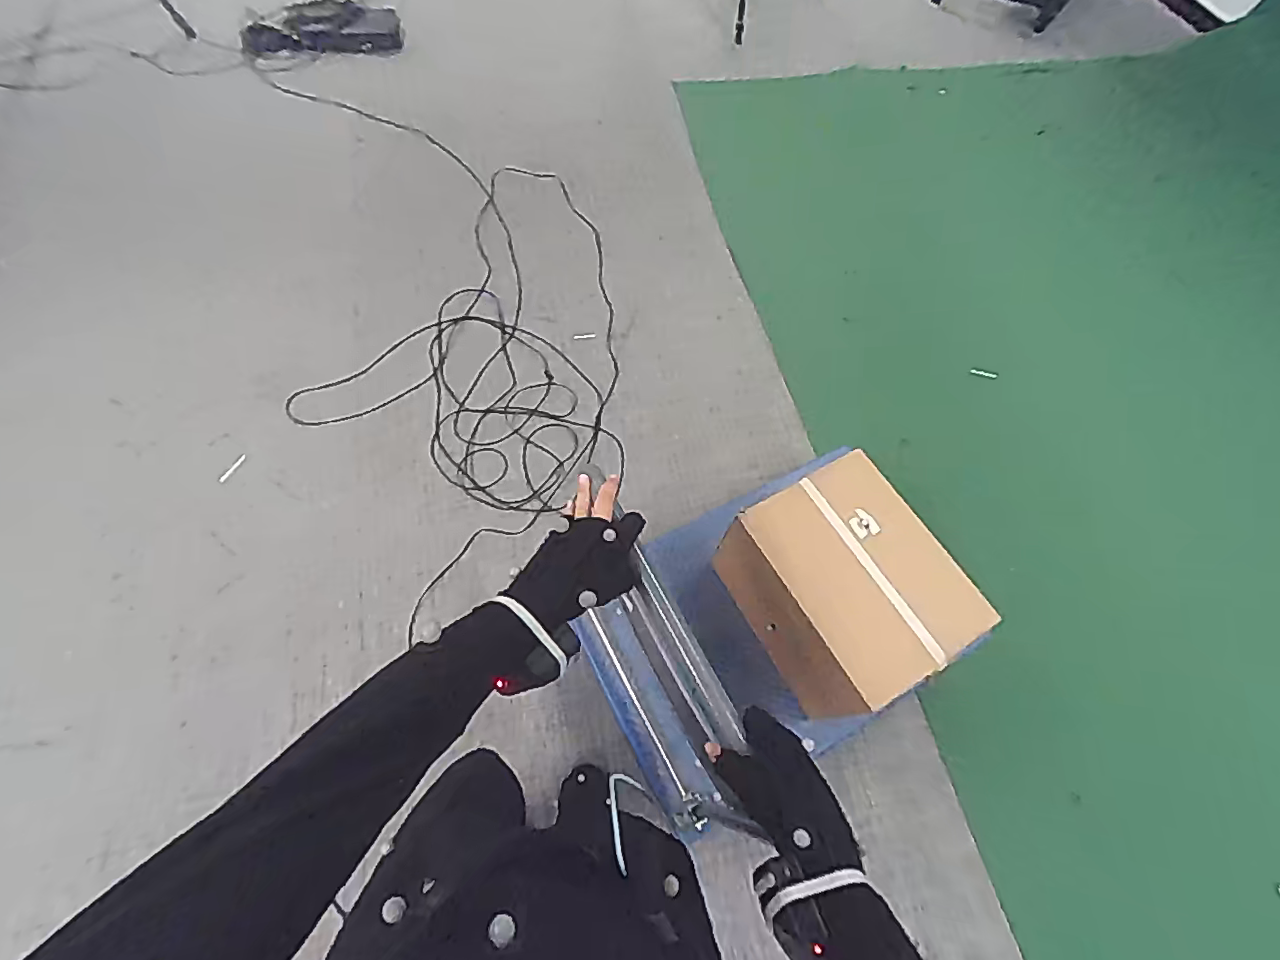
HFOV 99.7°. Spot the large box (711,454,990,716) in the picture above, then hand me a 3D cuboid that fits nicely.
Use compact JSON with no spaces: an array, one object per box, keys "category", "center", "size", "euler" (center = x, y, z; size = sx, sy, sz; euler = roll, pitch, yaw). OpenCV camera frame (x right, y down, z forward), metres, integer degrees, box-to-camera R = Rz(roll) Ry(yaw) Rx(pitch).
[{"category":"large box","center":[0.405,0.229,1.147],"size":[0.320,0.320,0.408],"euler":[-26,68,-16]}]
